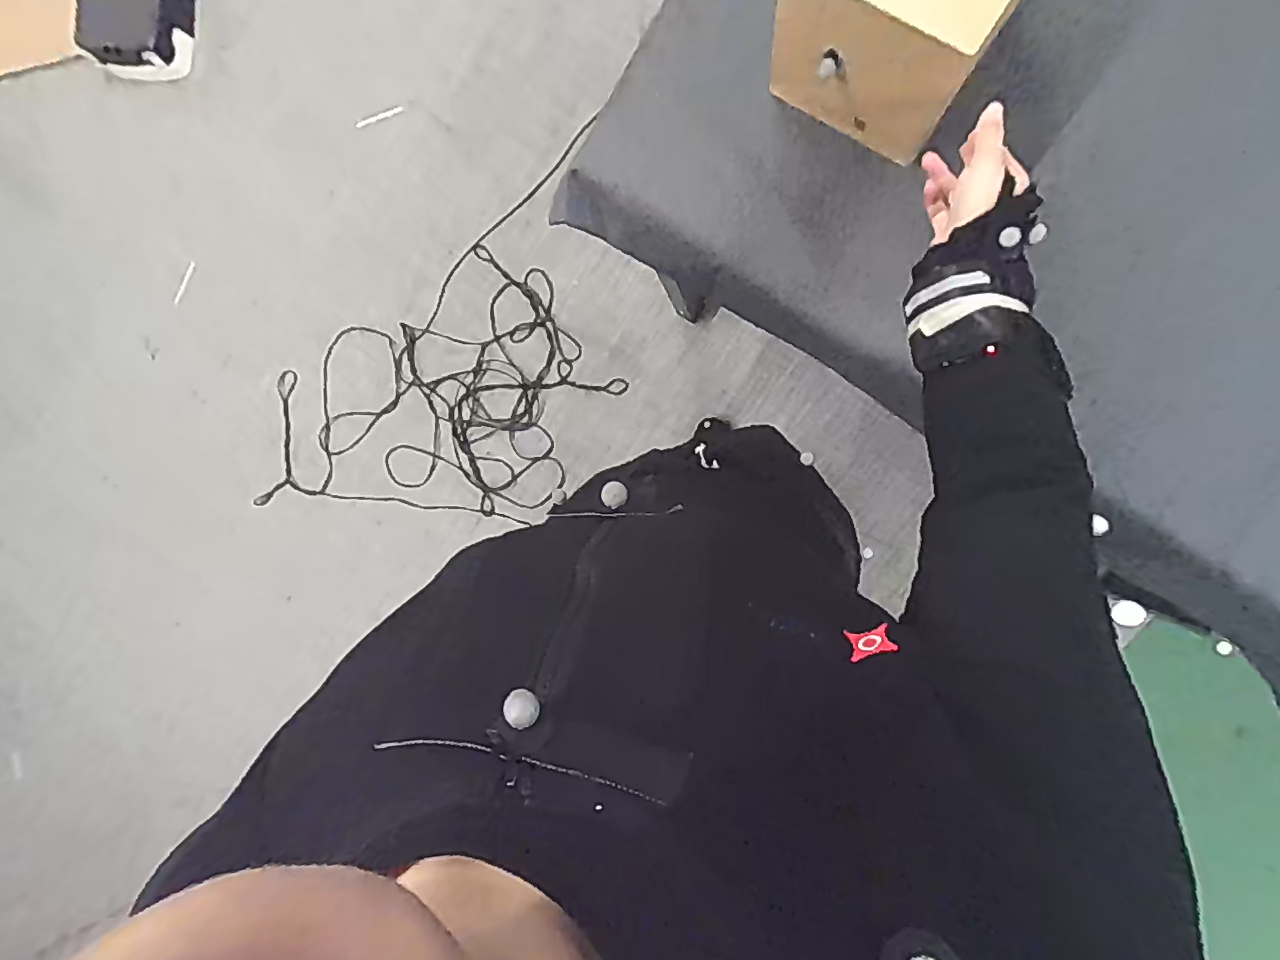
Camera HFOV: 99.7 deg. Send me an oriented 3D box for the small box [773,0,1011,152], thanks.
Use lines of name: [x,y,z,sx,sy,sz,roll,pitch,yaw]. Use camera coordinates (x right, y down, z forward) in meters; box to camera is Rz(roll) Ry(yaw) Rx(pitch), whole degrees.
small box: [0.228,-0.430,0.462,0.168,0.176,0.179,33,97,6]
